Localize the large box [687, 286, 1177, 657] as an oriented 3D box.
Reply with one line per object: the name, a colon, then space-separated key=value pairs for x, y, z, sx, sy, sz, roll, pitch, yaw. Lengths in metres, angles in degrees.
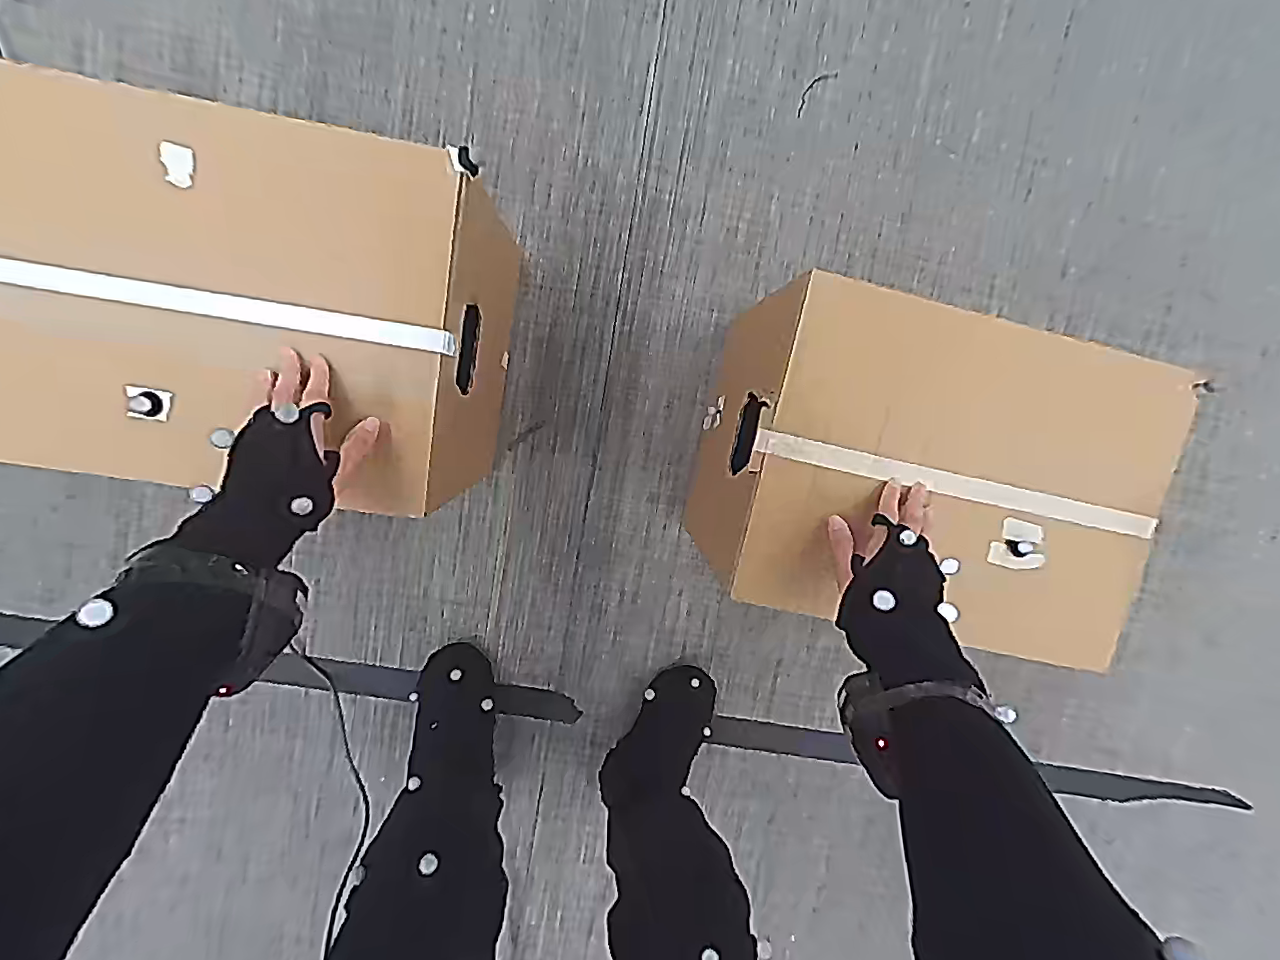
large box: x=0.303 y=-0.015 z=0.683 sx=0.408 sy=0.320 sz=0.320 roll=12 pitch=97 yaw=-6
